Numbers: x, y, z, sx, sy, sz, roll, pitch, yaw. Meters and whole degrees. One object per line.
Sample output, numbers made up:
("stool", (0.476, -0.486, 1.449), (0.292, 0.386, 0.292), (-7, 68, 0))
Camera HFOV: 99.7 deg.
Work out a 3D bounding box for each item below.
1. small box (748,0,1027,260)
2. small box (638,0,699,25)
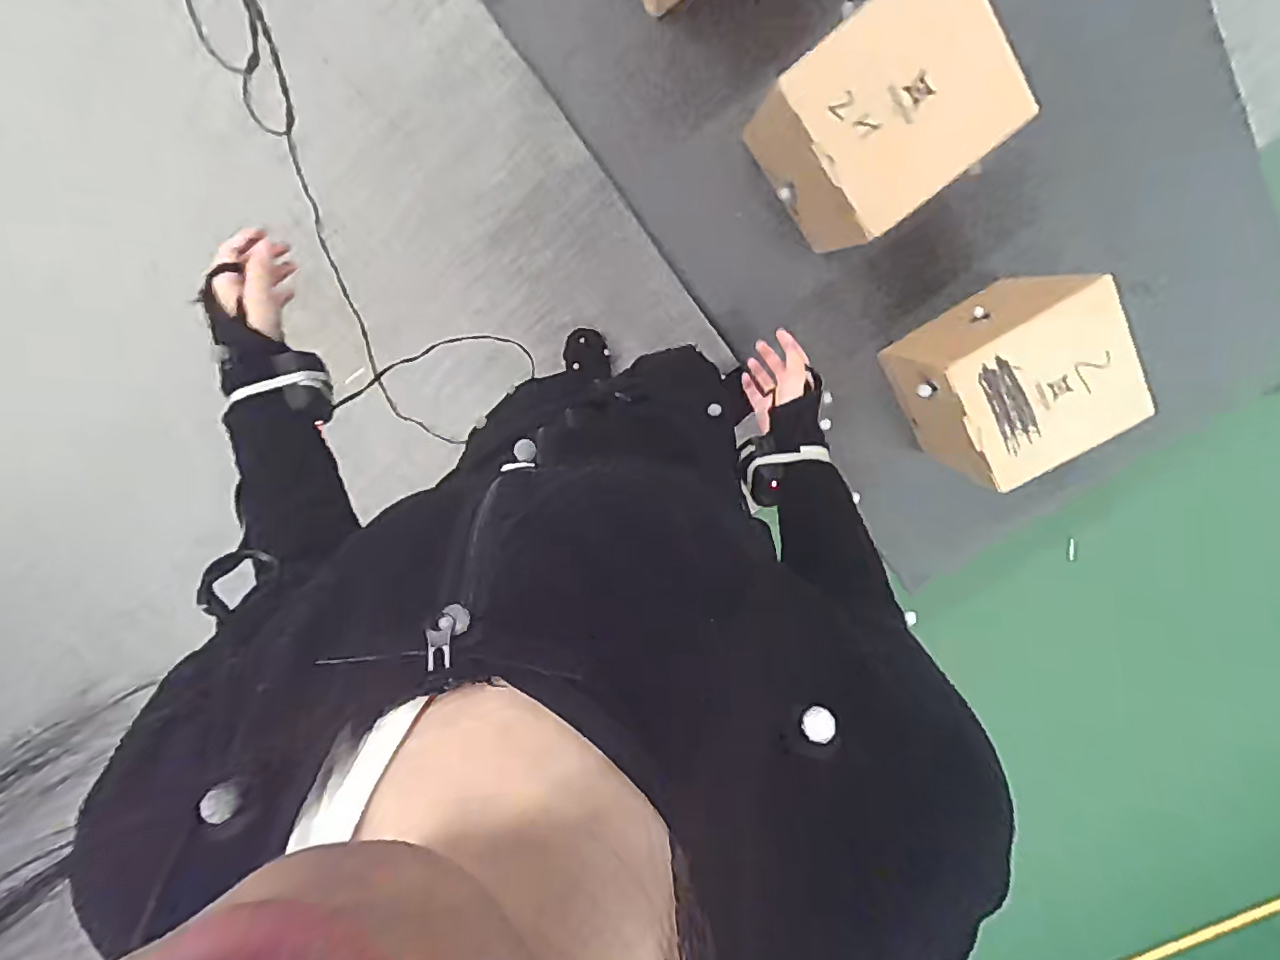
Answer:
("small box", (0.238, -0.356, 0.564), (0.179, 0.176, 0.168), (-36, 105, 10))
("small box", (0.046, -0.576, 0.489), (0.179, 0.176, 0.168), (-31, 106, 8))
